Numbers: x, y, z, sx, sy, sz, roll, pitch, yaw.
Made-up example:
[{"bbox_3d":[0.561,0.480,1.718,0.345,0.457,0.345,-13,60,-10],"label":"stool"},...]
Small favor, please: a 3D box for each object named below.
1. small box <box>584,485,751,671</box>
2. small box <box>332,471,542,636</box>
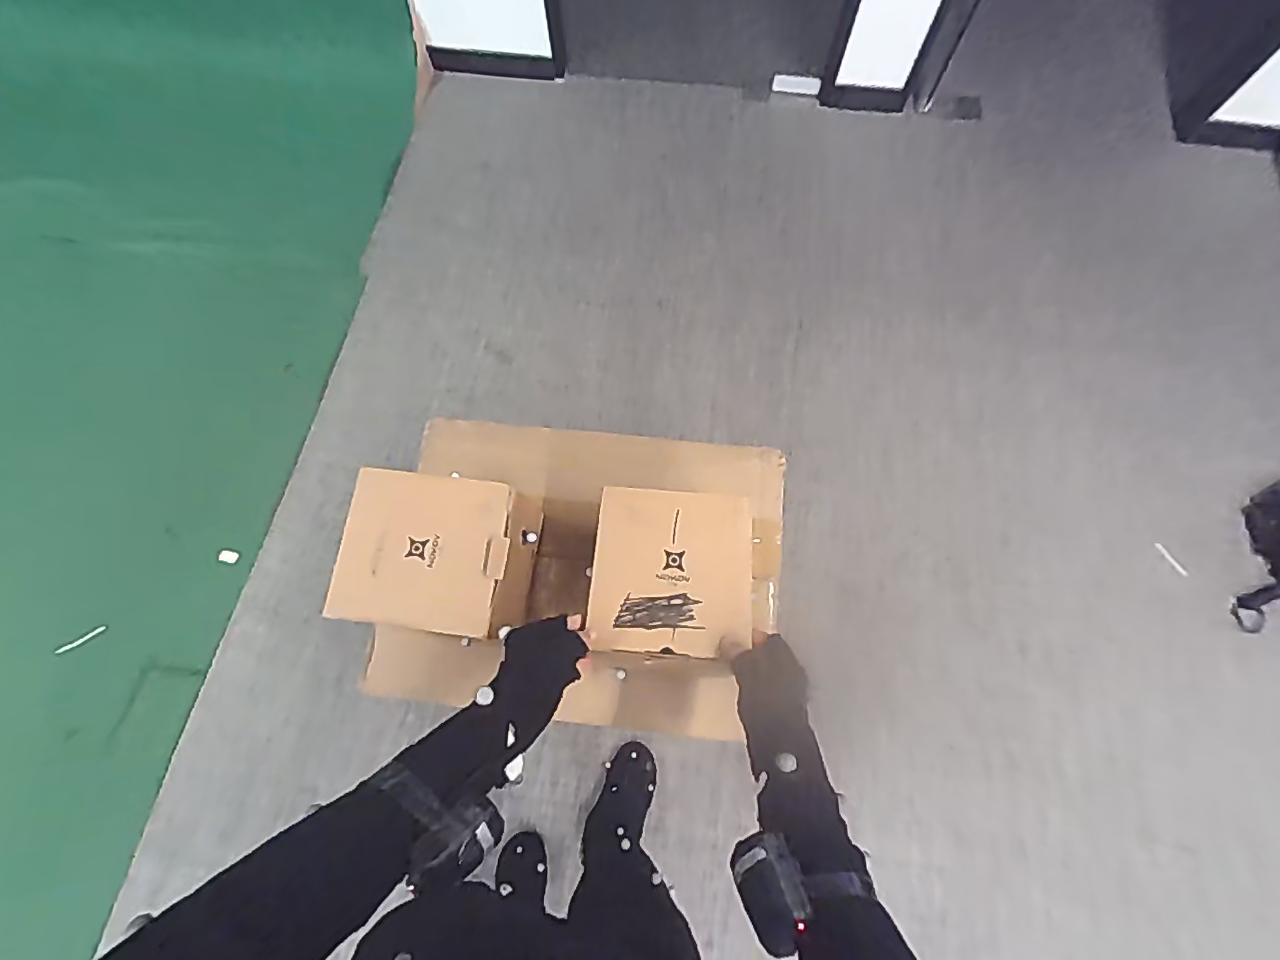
[{"bbox_3d":[0.035,0.122,0.634,0.168,0.176,0.179,4,65,2],"label":"small box"},{"bbox_3d":[-0.228,0.096,0.661,0.179,0.176,0.168,5,74,4],"label":"small box"}]
